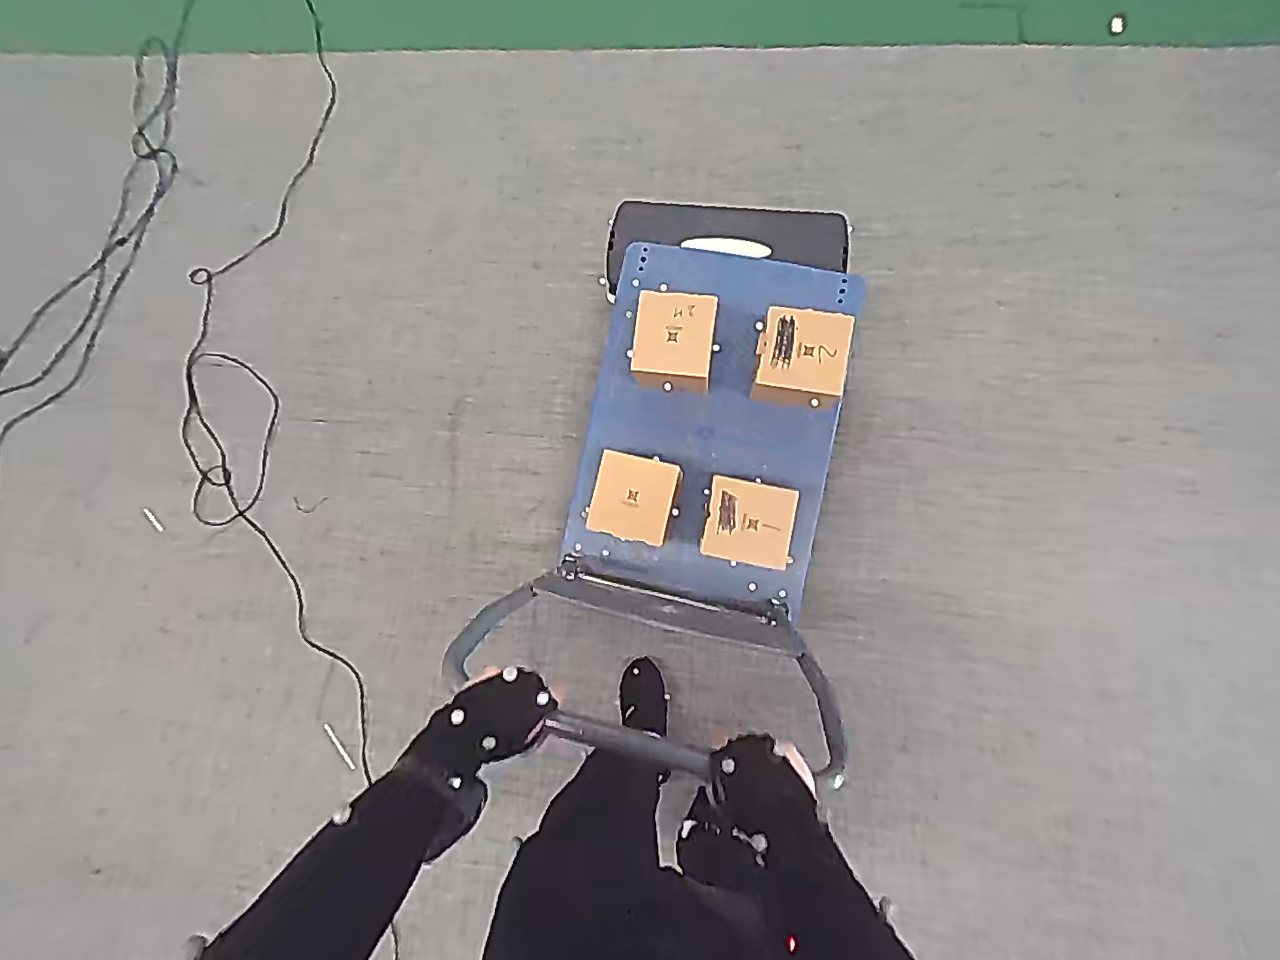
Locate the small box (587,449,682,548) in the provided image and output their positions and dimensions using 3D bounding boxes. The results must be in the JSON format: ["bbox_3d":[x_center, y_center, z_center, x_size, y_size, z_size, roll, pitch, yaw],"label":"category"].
[{"bbox_3d":[-0.007,0.042,1.202,0.168,0.176,0.179,14,89,7],"label":"small box"}]

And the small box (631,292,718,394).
[{"bbox_3d":[0.082,-0.299,1.215,0.168,0.176,0.179,8,87,6],"label":"small box"}]
